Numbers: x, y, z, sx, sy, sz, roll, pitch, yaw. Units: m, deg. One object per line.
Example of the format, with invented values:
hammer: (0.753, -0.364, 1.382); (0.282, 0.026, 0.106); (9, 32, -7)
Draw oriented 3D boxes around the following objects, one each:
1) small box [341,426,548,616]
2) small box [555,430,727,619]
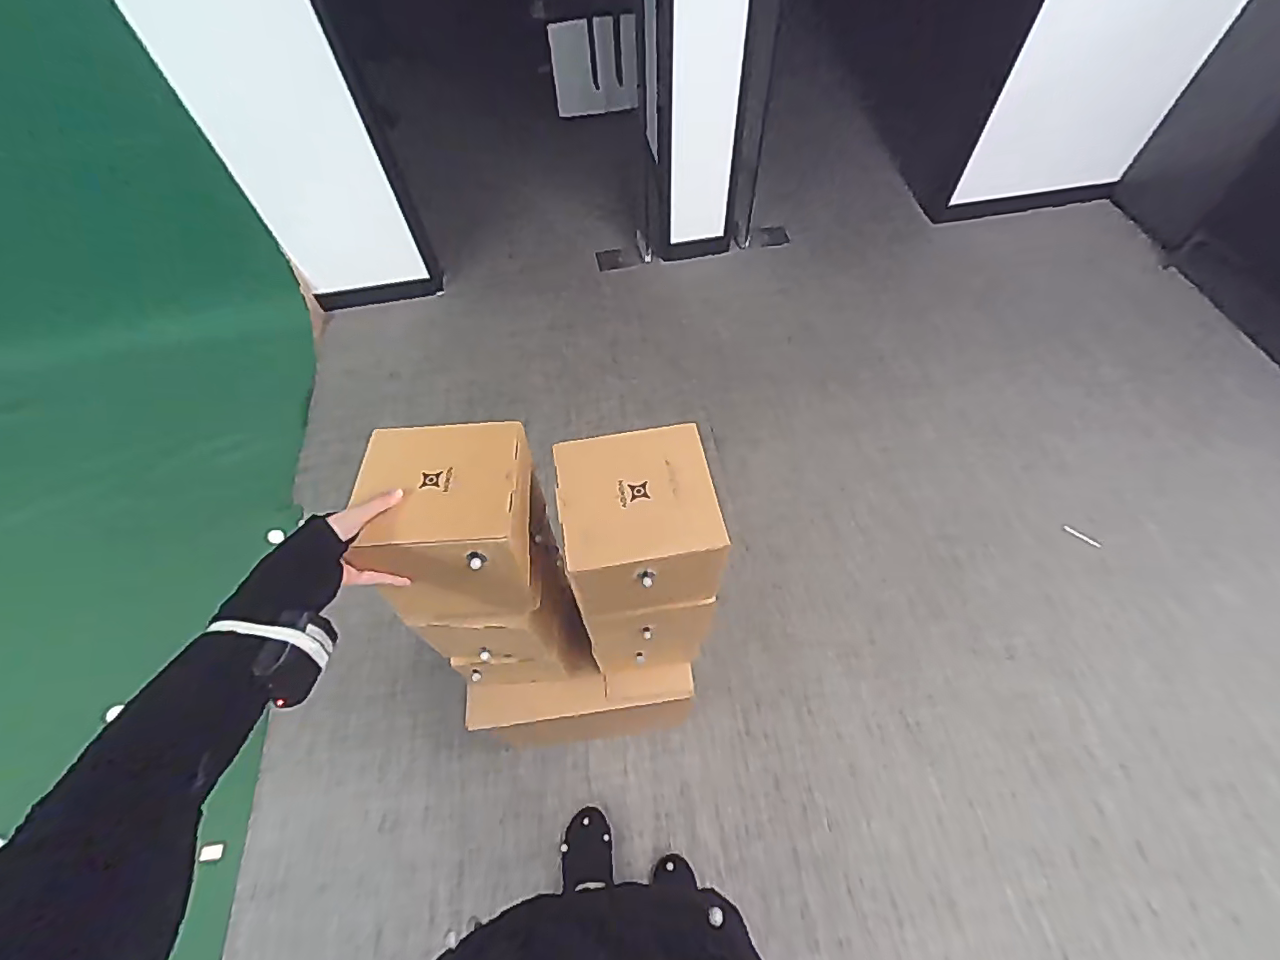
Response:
small box: (-0.217, 0.055, 0.656); (0.179, 0.176, 0.168); (-4, 52, -1)
small box: (-0.001, 0.062, 0.671); (0.179, 0.176, 0.168); (-9, 59, -4)
